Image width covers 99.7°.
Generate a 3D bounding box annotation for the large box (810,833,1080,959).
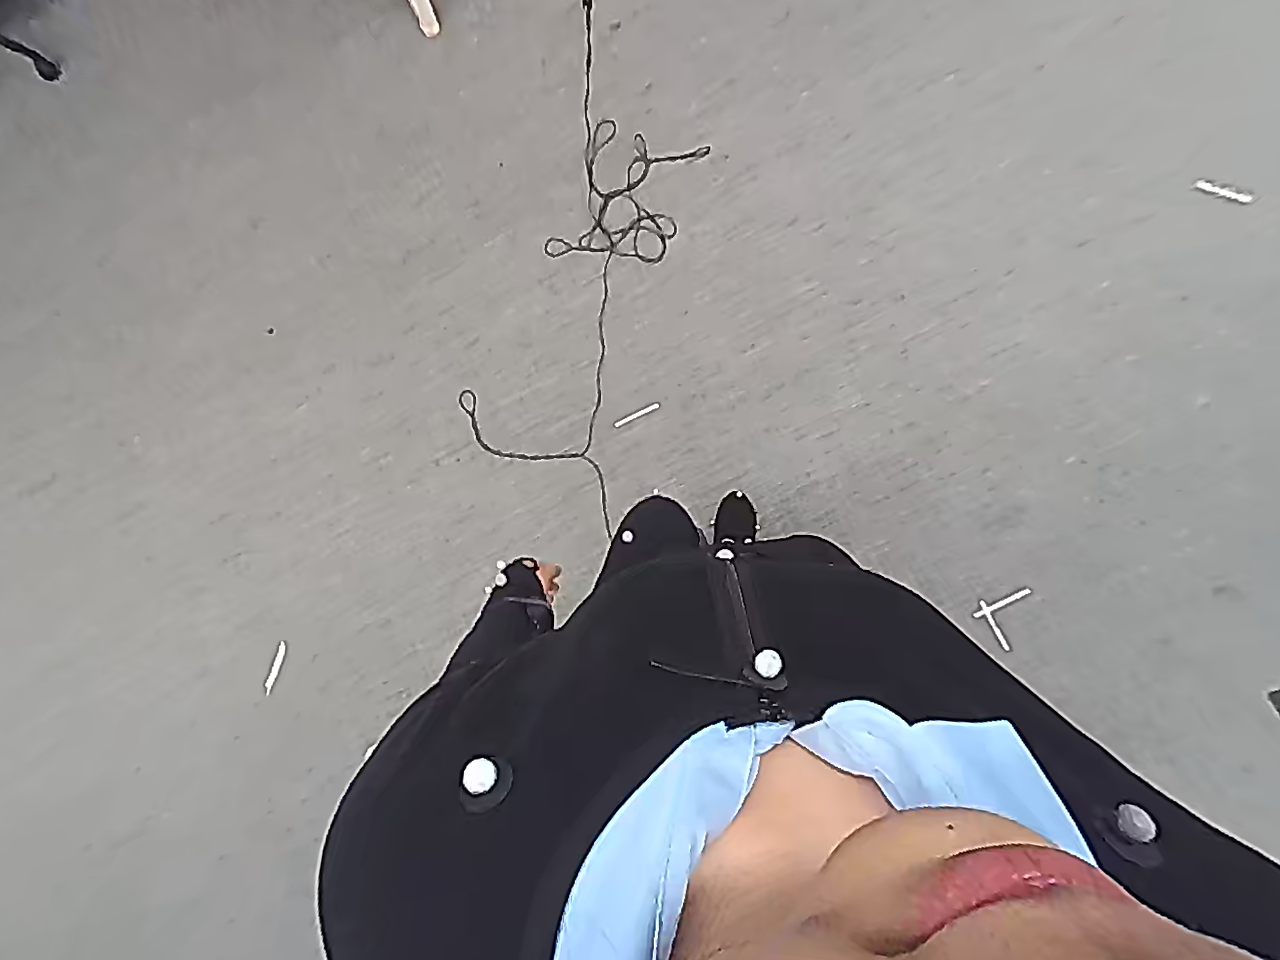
[{"bbox_3d":[0.607,0.983,1.082,0.408,0.320,0.320,-15,85,5],"label":"large box"}]
